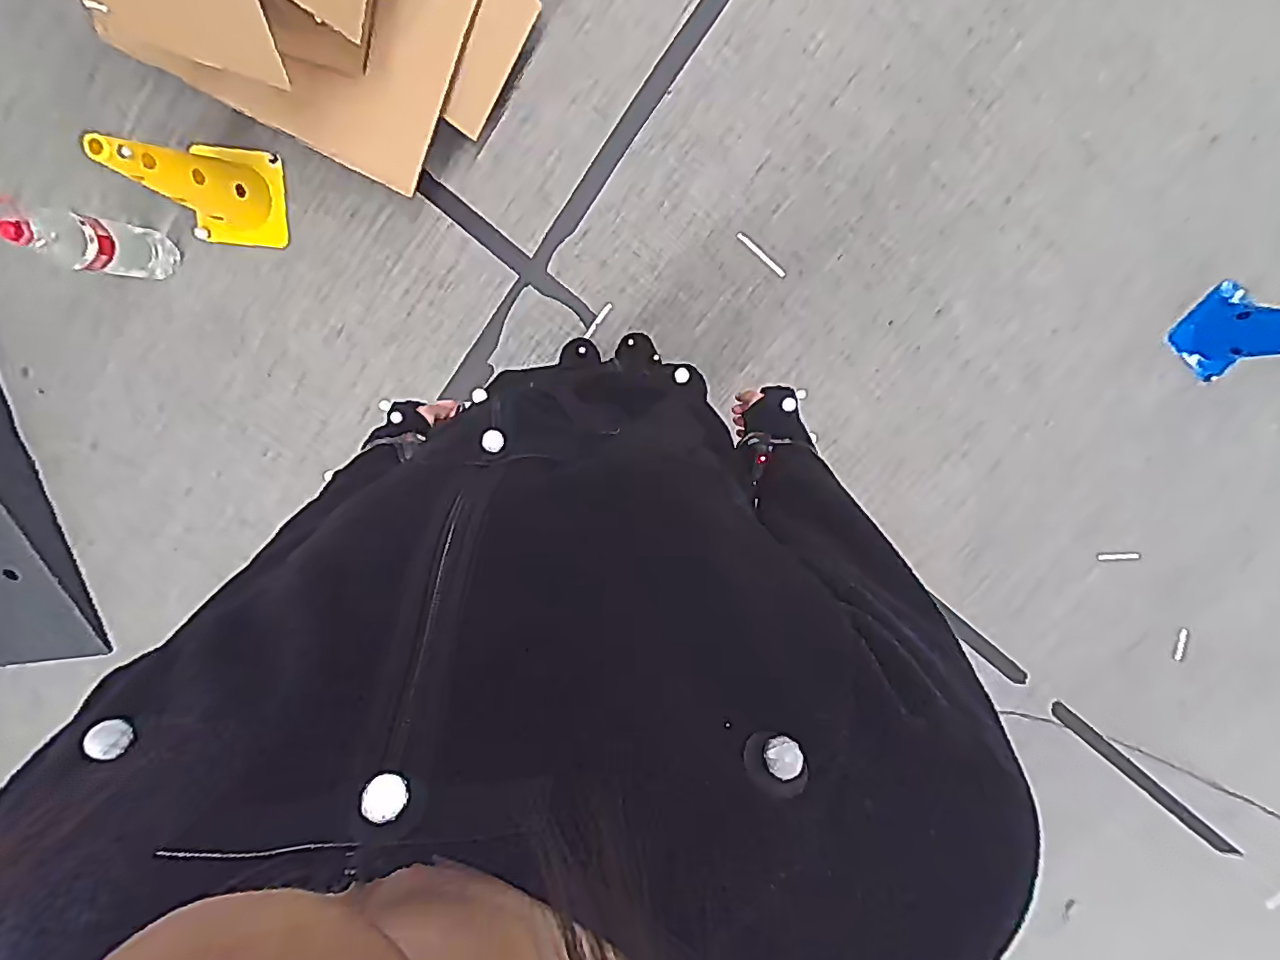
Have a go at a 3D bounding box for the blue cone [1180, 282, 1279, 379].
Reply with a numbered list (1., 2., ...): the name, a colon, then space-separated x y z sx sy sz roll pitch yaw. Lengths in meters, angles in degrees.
1. blue cone: 1.511 -0.340 1.235 0.192 0.380 0.193 41 101 -12
